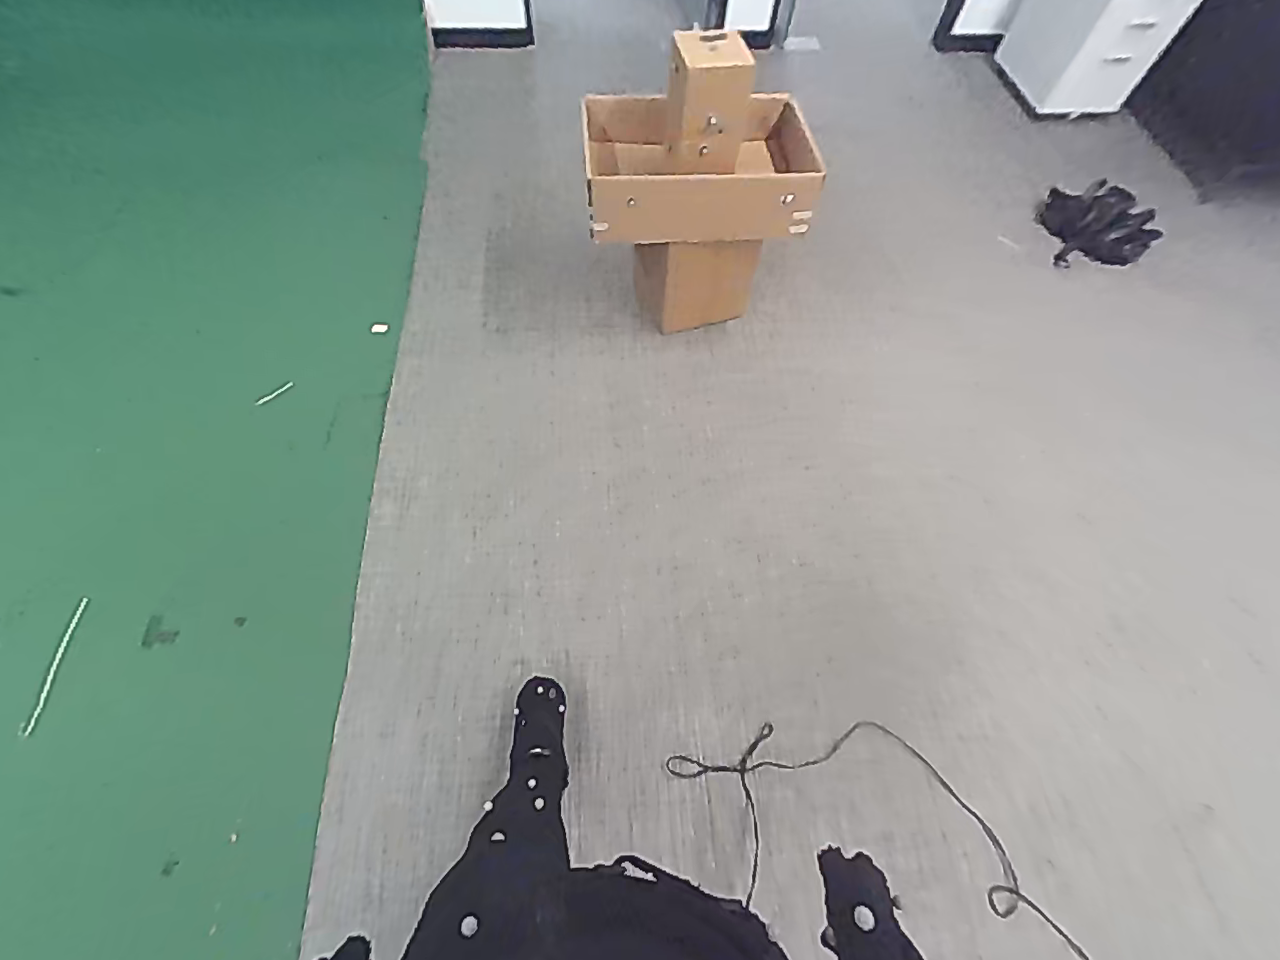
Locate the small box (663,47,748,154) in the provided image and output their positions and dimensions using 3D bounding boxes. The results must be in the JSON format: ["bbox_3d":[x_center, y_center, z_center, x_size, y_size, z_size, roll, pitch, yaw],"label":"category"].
[{"bbox_3d":[0.159,-0.965,1.378,0.168,0.176,0.179,-9,62,-7],"label":"small box"}]

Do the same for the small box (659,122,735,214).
[{"bbox_3d":[0.152,-0.881,1.519,0.168,0.176,0.179,-10,60,-7],"label":"small box"}]
